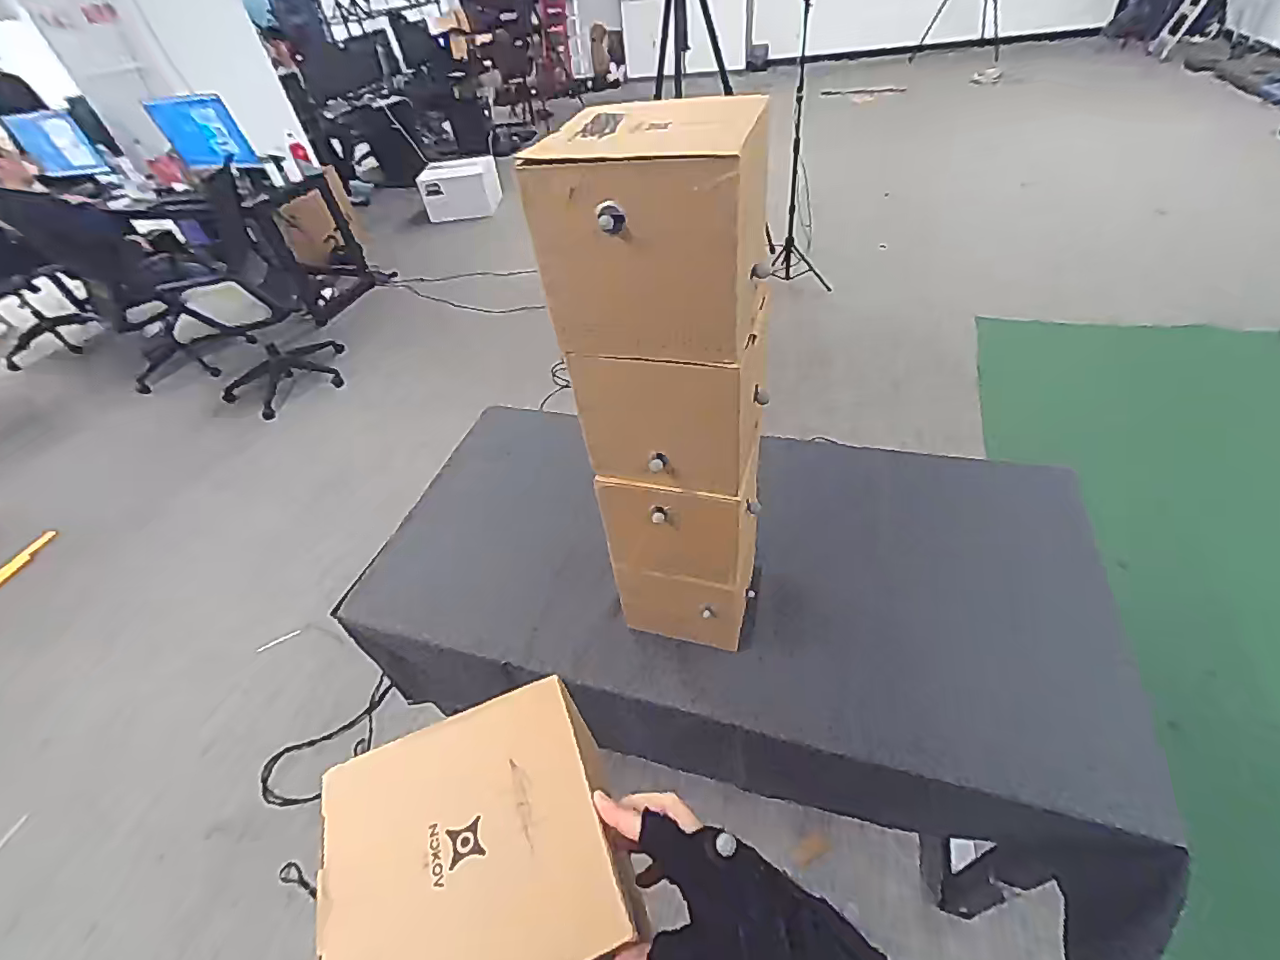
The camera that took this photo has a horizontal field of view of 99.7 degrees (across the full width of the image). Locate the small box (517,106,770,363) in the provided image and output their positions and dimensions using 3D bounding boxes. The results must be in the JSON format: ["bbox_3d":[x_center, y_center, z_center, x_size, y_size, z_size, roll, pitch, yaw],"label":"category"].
[{"bbox_3d":[0.018,-0.224,0.502,0.179,0.176,0.168,8,47,17],"label":"small box"}]

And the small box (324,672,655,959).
[{"bbox_3d":[-0.101,0.280,0.401,0.179,0.176,0.168,-19,48,-9],"label":"small box"}]

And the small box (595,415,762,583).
[{"bbox_3d":[0.060,0.017,0.722,0.179,0.176,0.168,7,46,17],"label":"small box"}]

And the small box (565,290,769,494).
[{"bbox_3d":[0.041,-0.104,0.613,0.179,0.176,0.168,9,47,18],"label":"small box"}]
